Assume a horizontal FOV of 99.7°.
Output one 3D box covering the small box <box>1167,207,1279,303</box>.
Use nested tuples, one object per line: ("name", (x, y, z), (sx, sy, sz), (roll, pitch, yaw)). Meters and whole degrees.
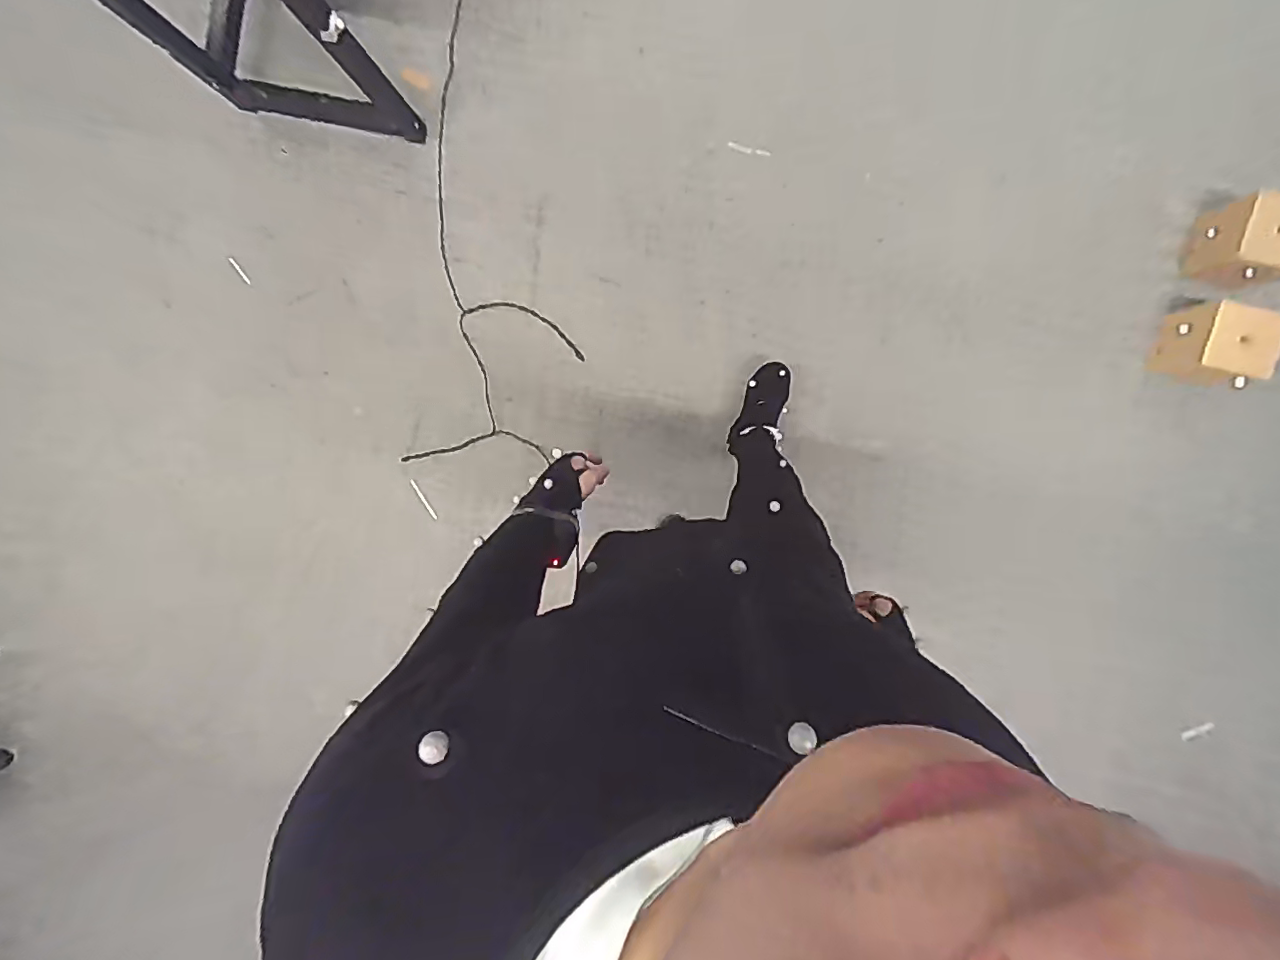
("small box", (1.546, -0.575, 1.404), (0.179, 0.176, 0.168), (16, 96, 1))

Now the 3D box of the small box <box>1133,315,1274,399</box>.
("small box", (1.477, -0.318, 1.432), (0.179, 0.176, 0.168), (16, 95, 0))
